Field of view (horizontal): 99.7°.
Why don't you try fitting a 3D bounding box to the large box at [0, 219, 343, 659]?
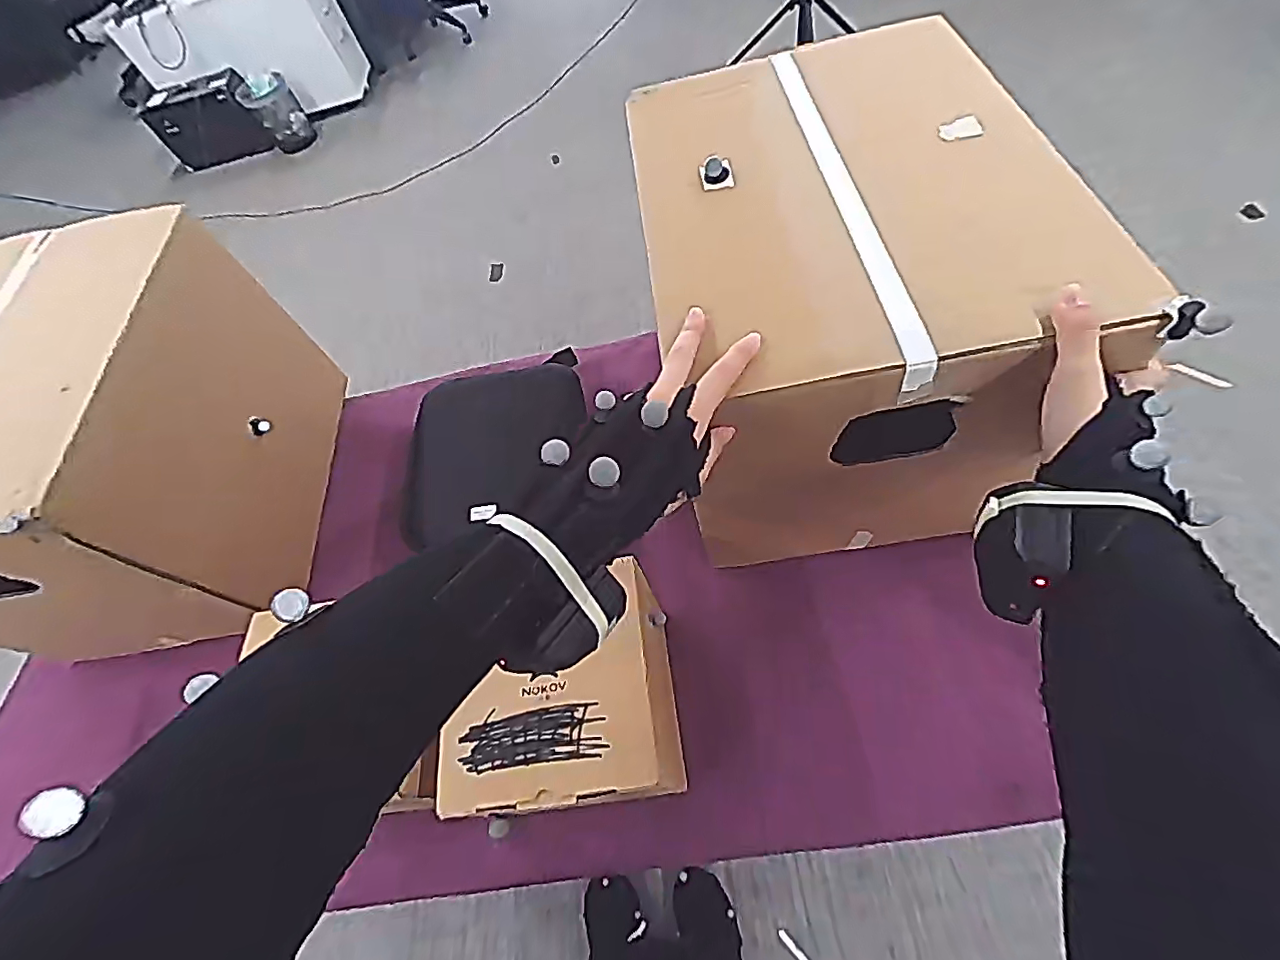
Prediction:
[{"bbox_3d":[-0.613,-0.034,0.659,0.320,0.320,0.408,-11,61,4],"label":"large box"}]
